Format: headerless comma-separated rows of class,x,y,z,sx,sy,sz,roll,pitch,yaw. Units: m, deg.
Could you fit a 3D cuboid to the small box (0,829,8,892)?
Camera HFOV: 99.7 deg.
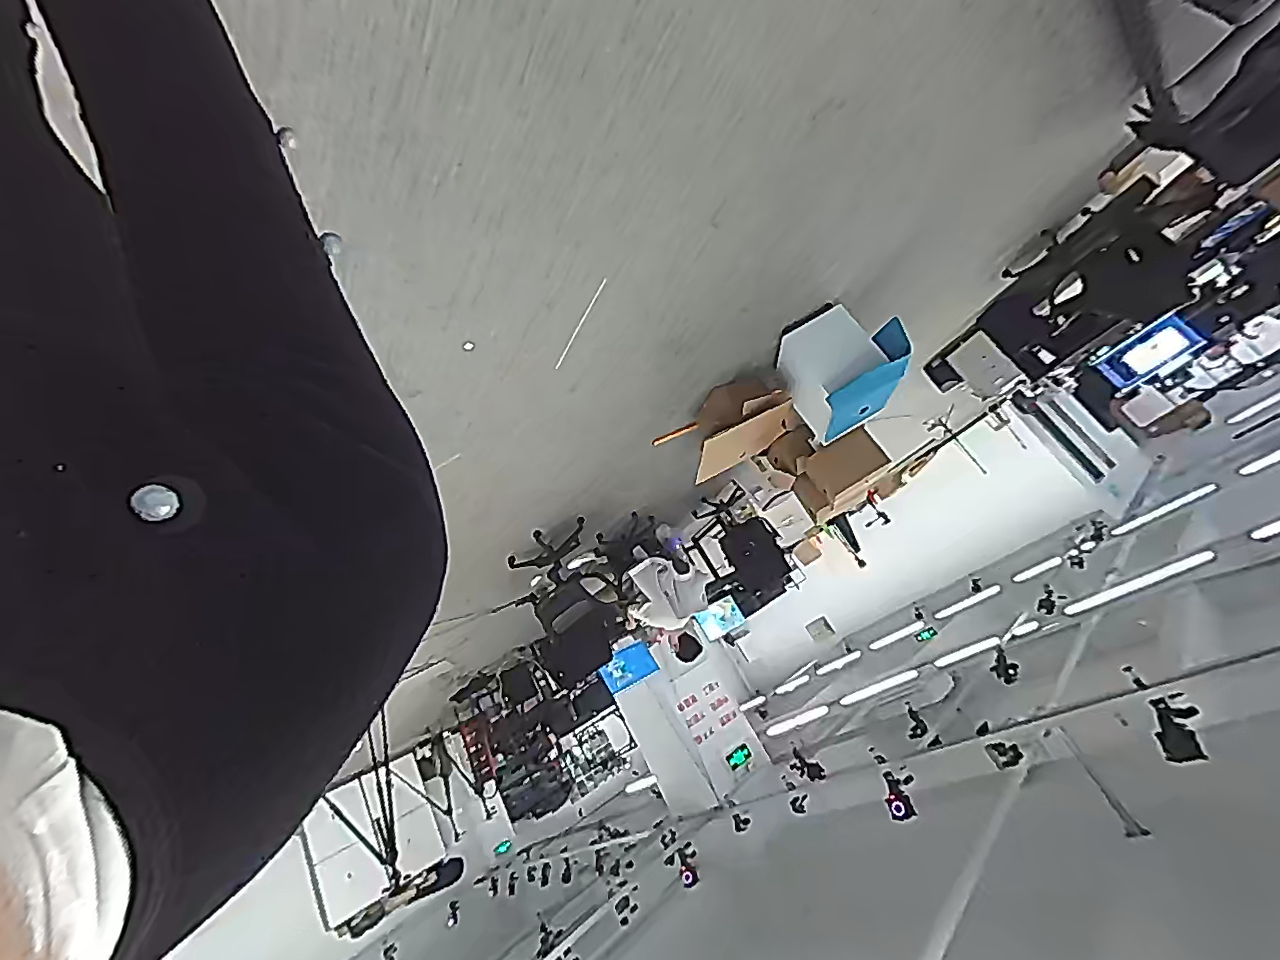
small box,-1.864,1.065,1.465,0.168,0.176,0.179,-14,154,-42
